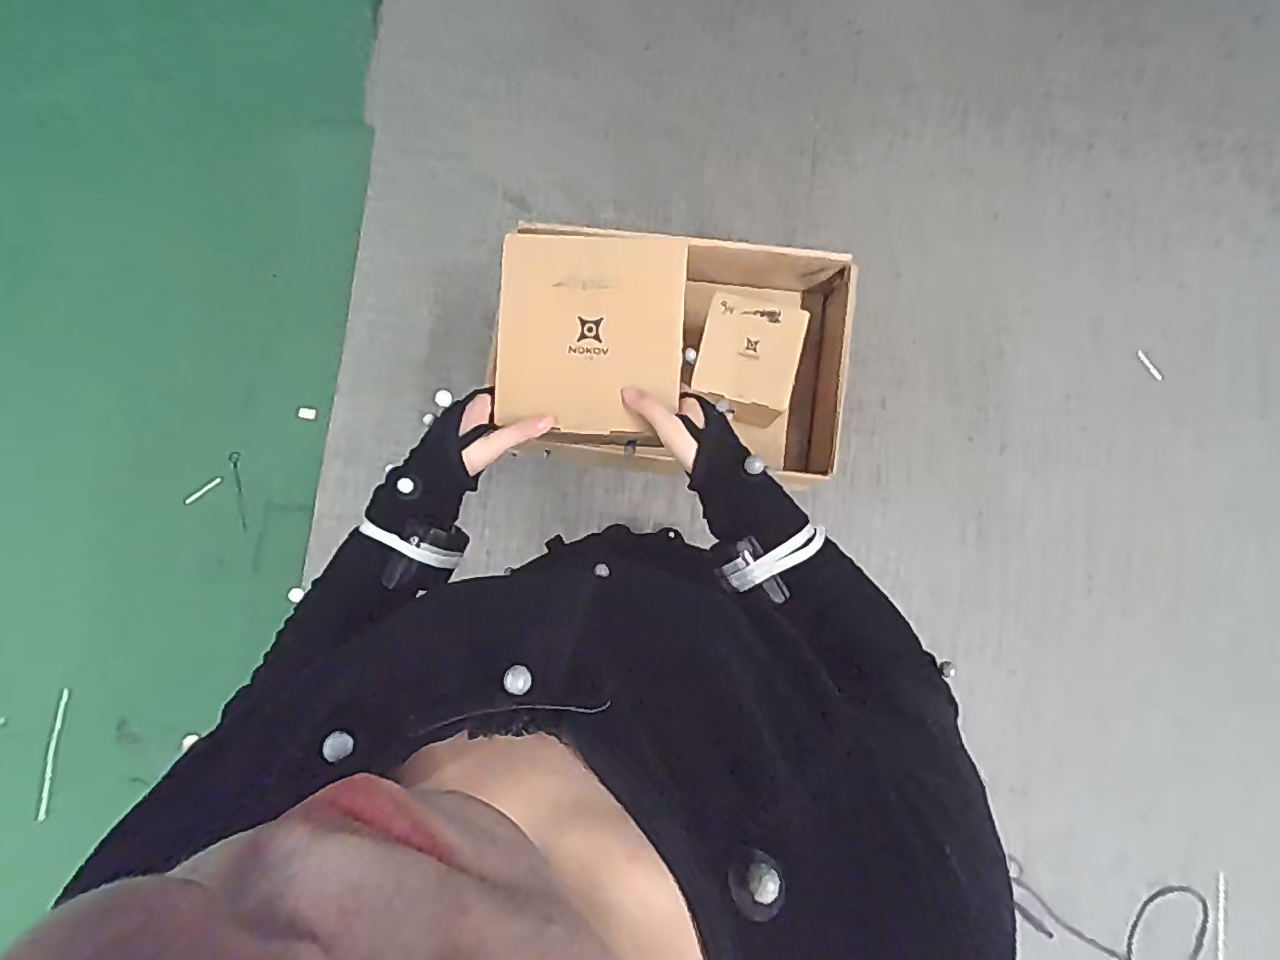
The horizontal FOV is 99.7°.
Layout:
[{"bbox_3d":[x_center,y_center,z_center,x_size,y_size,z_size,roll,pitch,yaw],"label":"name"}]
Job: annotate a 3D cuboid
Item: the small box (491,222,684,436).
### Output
[{"bbox_3d":[-0.042,-0.139,0.557,0.168,0.176,0.179,4,91,3],"label":"small box"}]
